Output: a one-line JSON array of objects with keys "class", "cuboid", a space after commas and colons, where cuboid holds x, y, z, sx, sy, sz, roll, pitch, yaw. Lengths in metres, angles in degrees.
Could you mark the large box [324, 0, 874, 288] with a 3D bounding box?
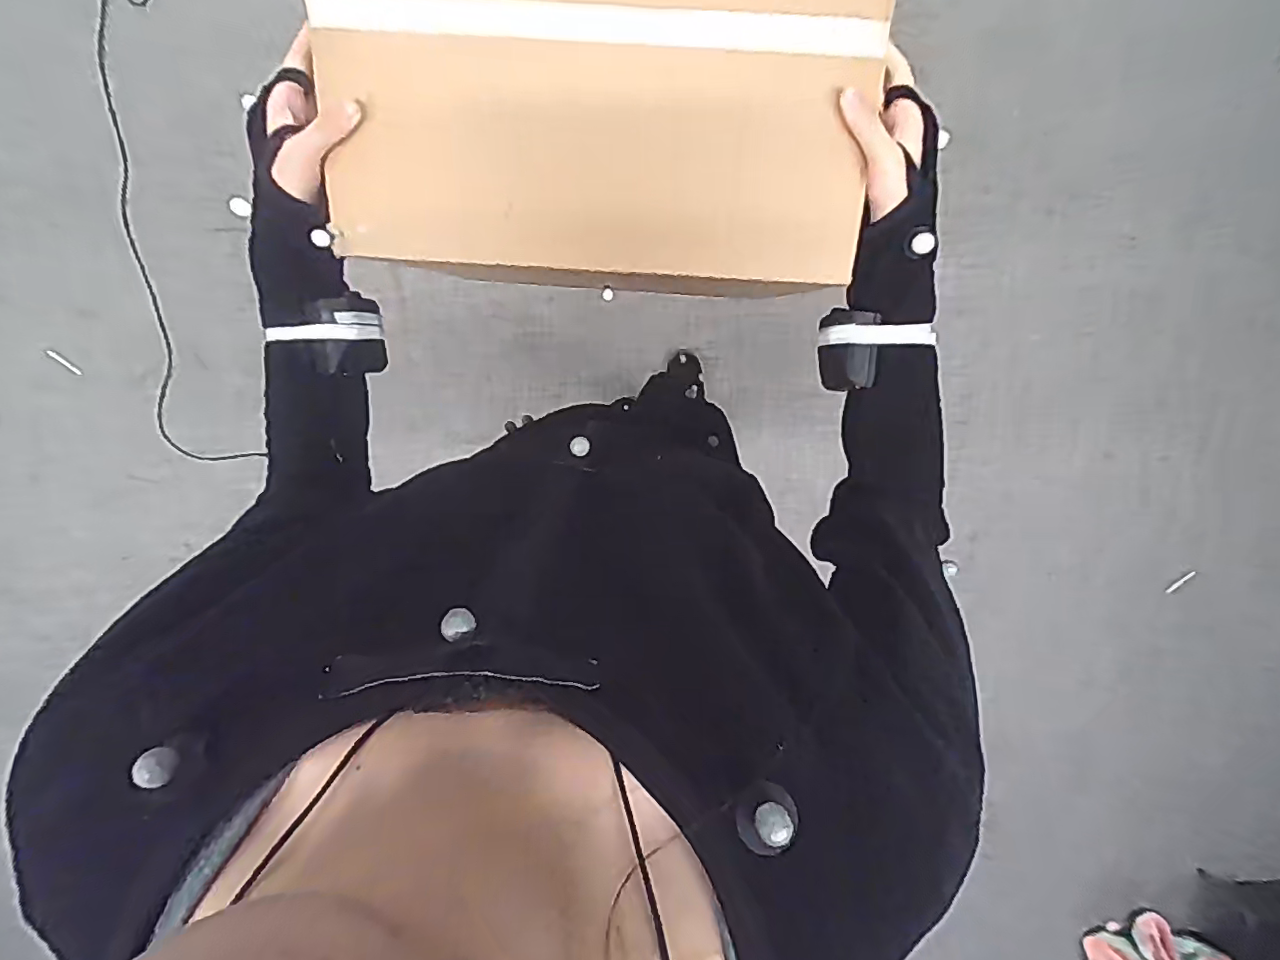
[{"class": "large box", "cuboid": [-0.027, -0.363, 0.538, 0.408, 0.320, 0.320, 4, 107, 0]}]
